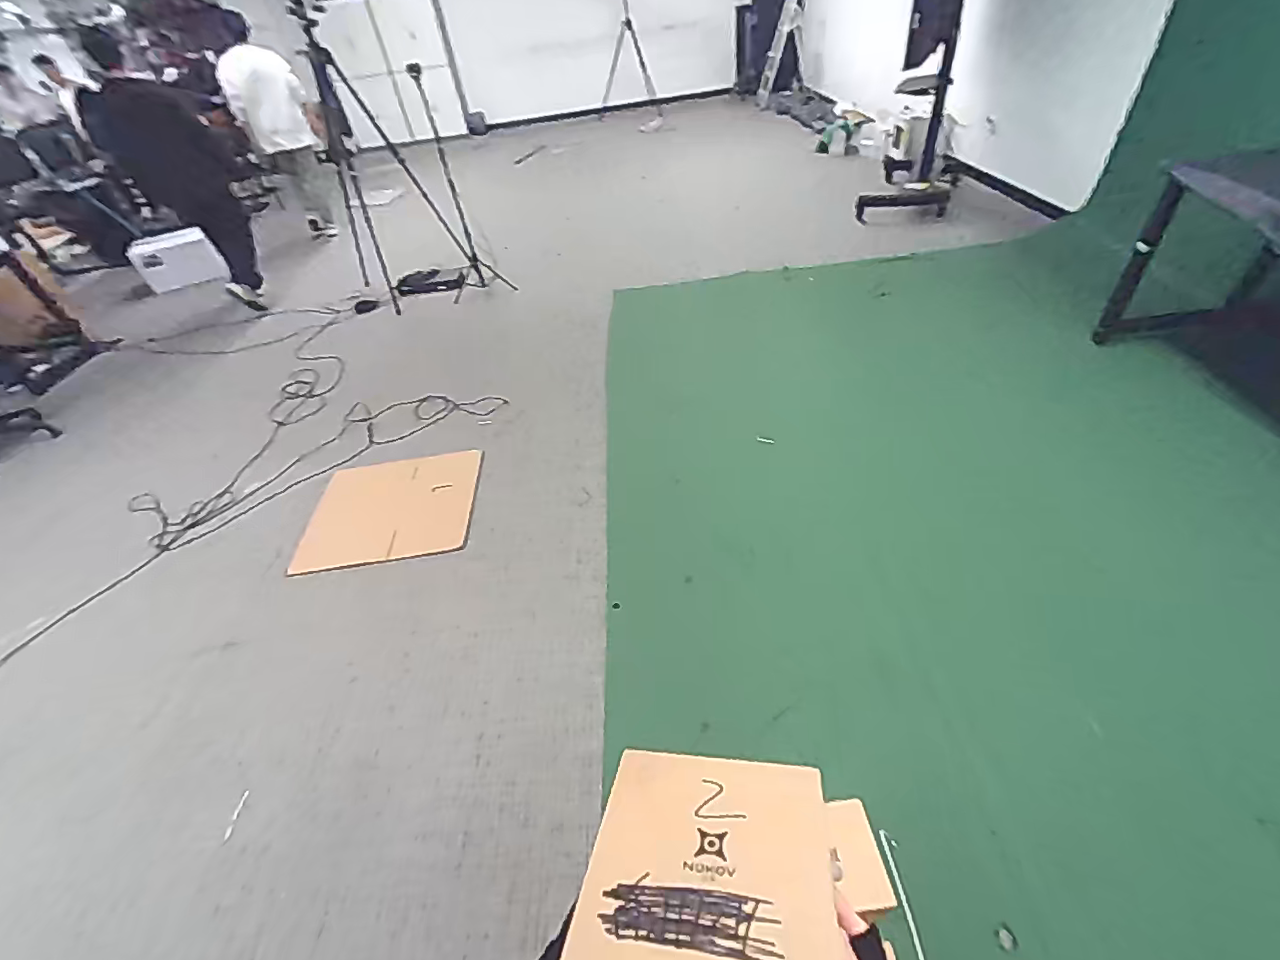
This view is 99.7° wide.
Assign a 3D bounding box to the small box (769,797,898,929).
[{"bbox_3d":[0.349,0.721,1.016,0.179,0.176,0.168,-9,43,1],"label":"small box"}]
